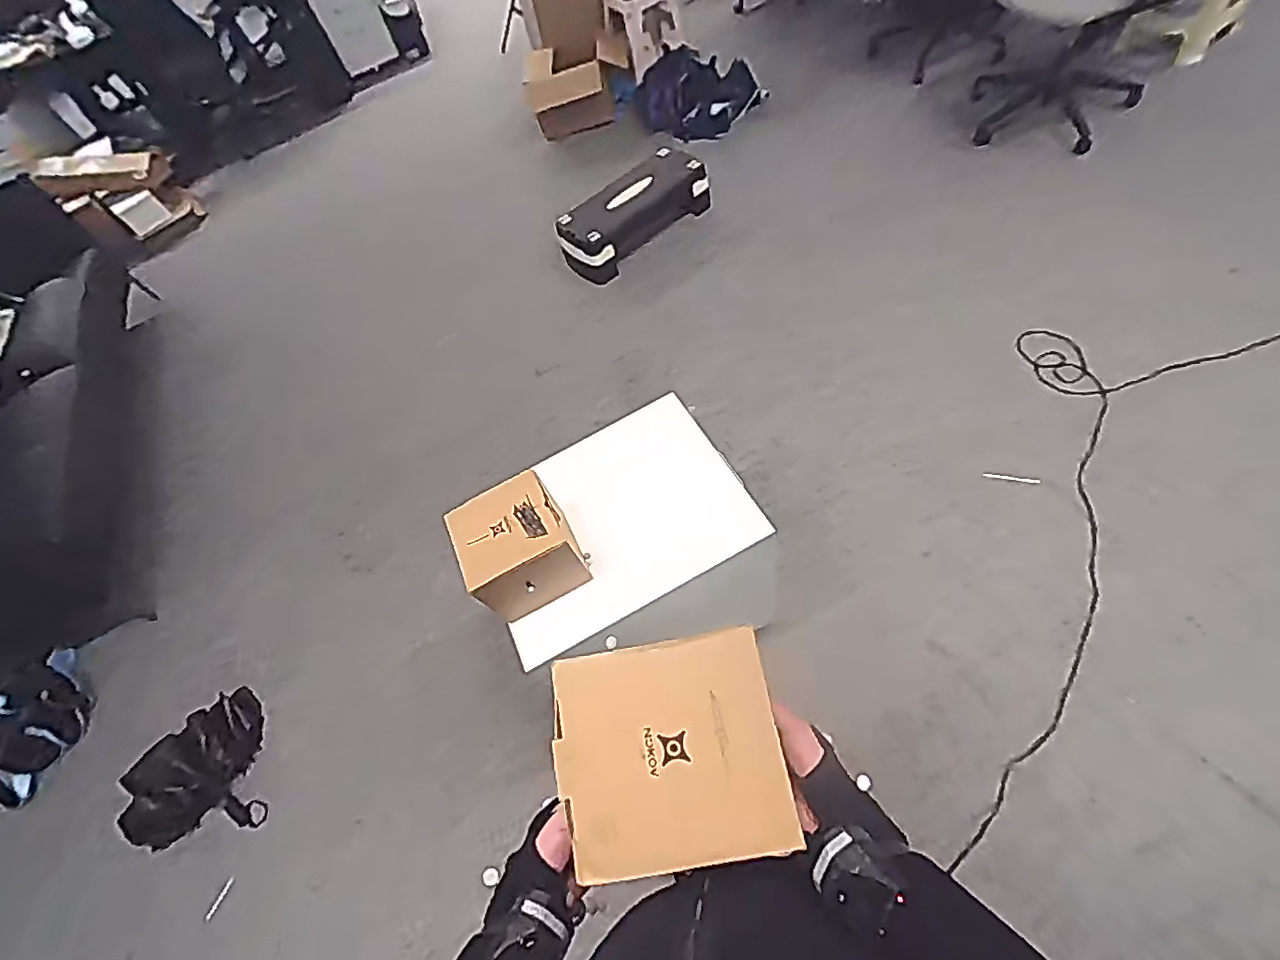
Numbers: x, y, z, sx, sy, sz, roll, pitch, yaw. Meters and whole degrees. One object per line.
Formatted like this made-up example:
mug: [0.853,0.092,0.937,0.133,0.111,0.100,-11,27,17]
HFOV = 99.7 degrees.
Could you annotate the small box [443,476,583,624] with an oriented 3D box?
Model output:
small box: [-0.216,0.129,0.965,0.179,0.176,0.168,-28,57,-4]
